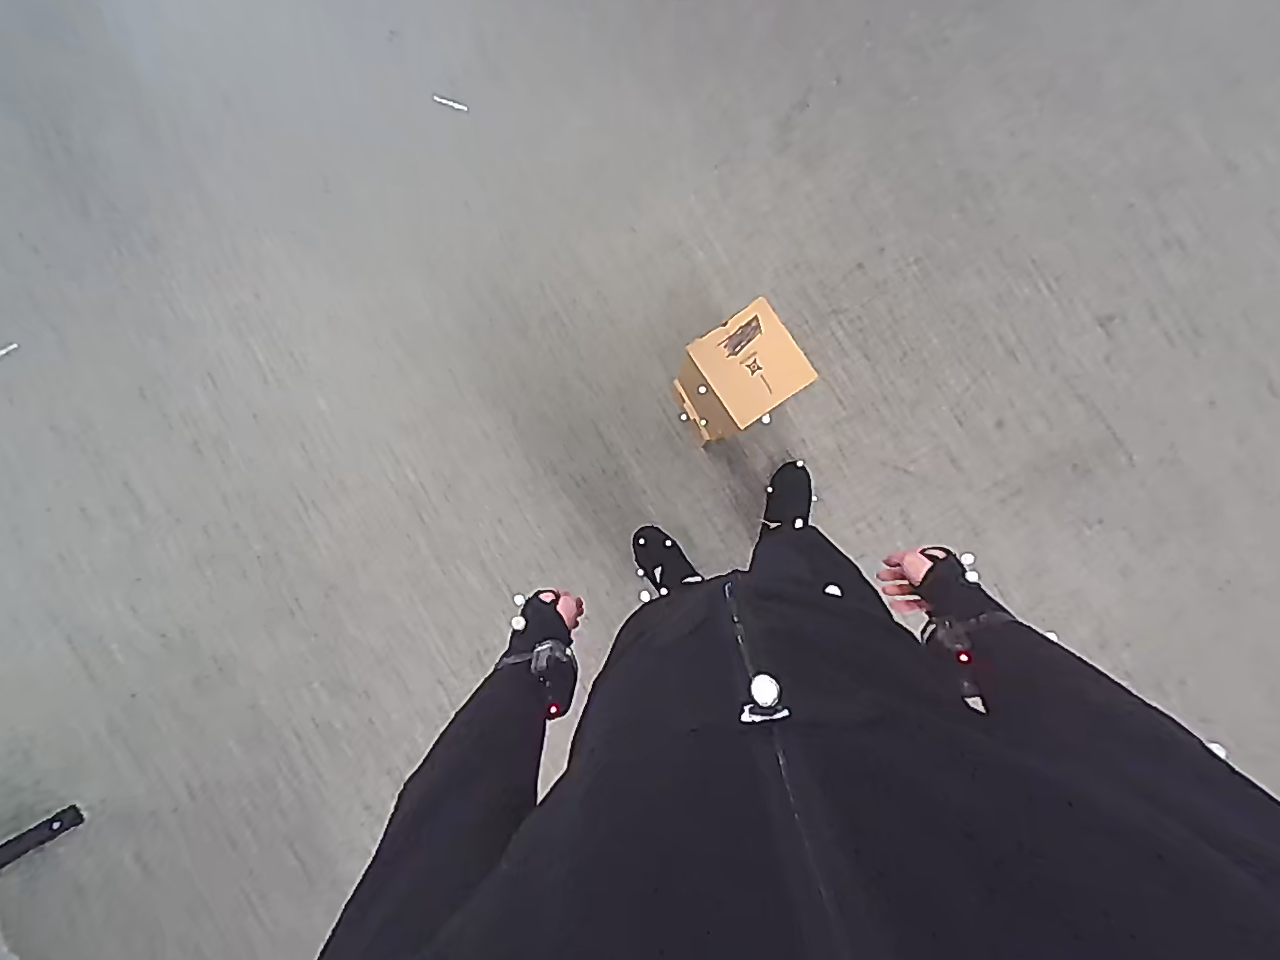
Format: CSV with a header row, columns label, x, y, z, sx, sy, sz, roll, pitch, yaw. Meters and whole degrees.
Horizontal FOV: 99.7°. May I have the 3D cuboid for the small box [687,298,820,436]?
label,x,y,z,sx,sy,sz,roll,pitch,yaw
small box,0.198,-0.199,1.005,0.168,0.176,0.179,-30,89,1

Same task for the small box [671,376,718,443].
label,x,y,z,sx,sy,sz,roll,pitch,yaw
small box,0.191,-0.205,1.353,0.179,0.176,0.168,-30,88,0

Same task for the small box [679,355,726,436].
label,x,y,z,sx,sy,sz,roll,pitch,yaw
small box,0.197,-0.205,1.172,0.168,0.176,0.179,-28,88,-1
